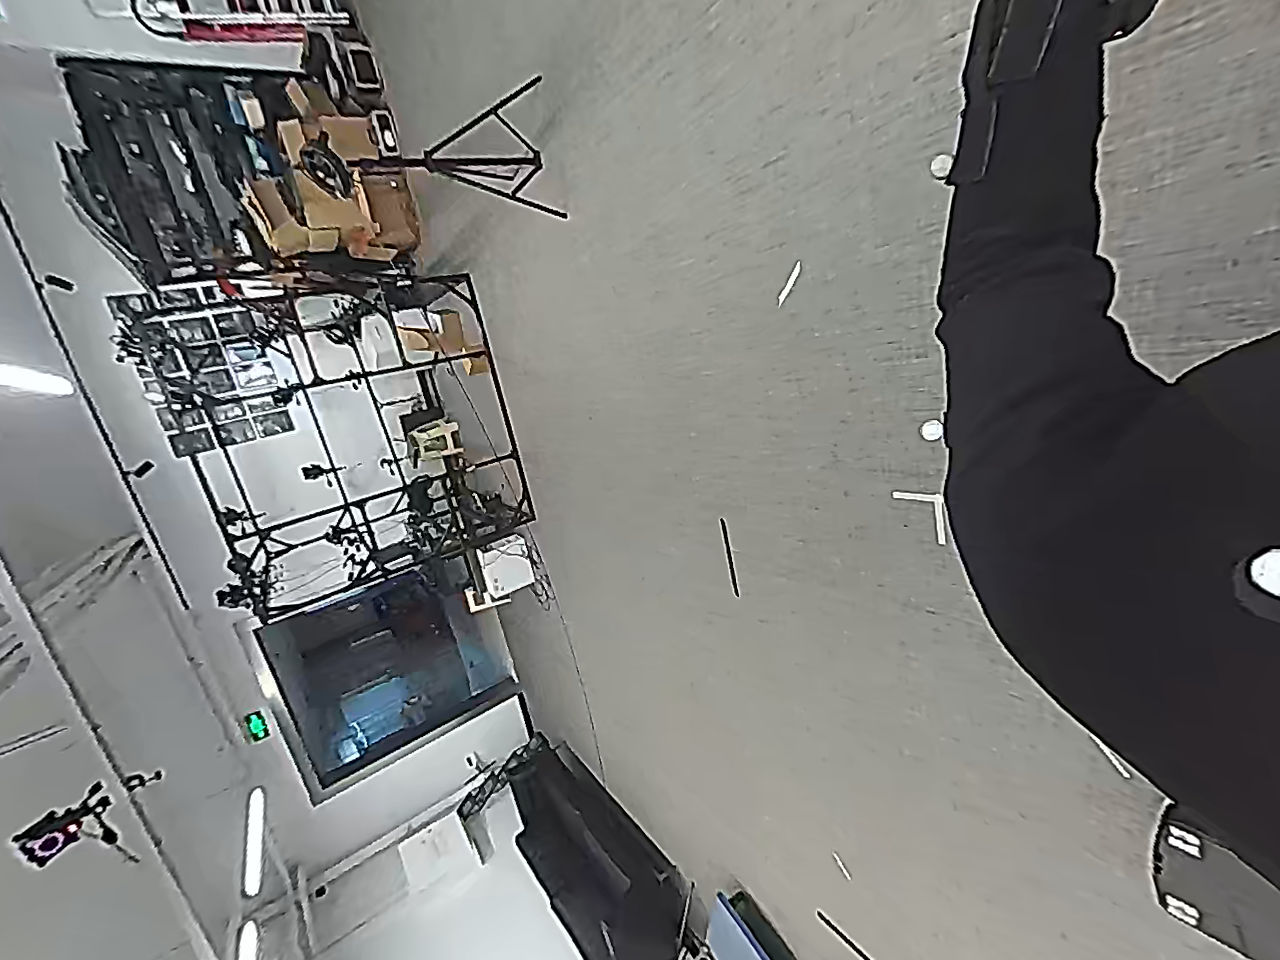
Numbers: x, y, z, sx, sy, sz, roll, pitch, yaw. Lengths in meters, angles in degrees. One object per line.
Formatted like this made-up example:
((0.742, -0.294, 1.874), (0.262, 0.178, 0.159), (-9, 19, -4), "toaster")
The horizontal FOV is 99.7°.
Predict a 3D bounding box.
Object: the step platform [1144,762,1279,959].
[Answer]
((1.408, 0.851, 1.009), (0.684, 0.204, 0.286), (11, 117, 58), "step platform")
